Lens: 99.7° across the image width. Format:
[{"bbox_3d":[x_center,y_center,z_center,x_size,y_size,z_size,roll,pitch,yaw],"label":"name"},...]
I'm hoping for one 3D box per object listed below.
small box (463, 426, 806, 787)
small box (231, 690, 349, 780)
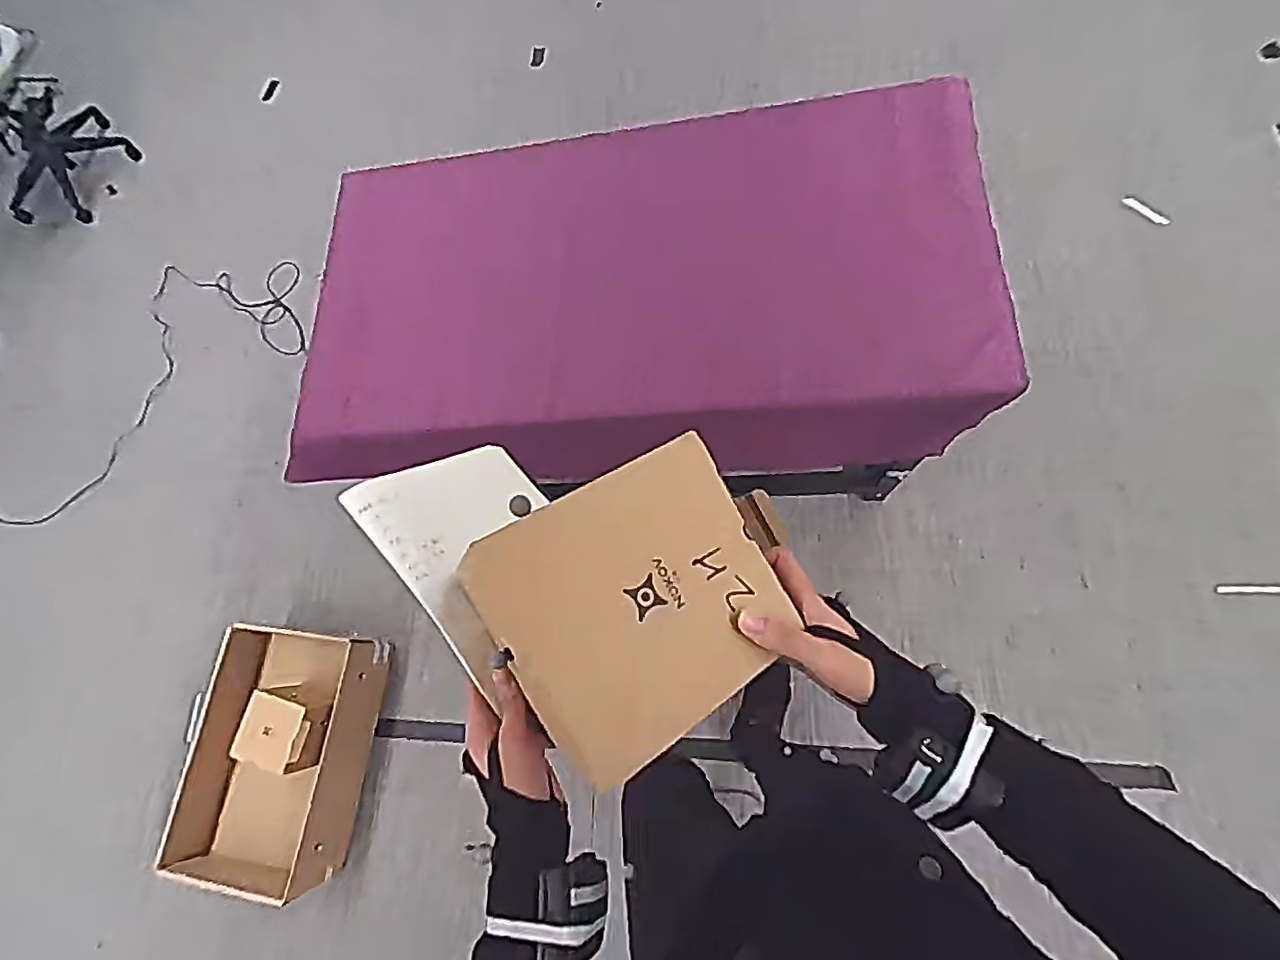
[{"bbox_3d":[-0.020,0.086,0.411,0.179,0.176,0.168,-27,88,-26],"label":"small box"},{"bbox_3d":[-0.927,0.671,1.448,0.179,0.176,0.168,11,76,14],"label":"small box"}]
